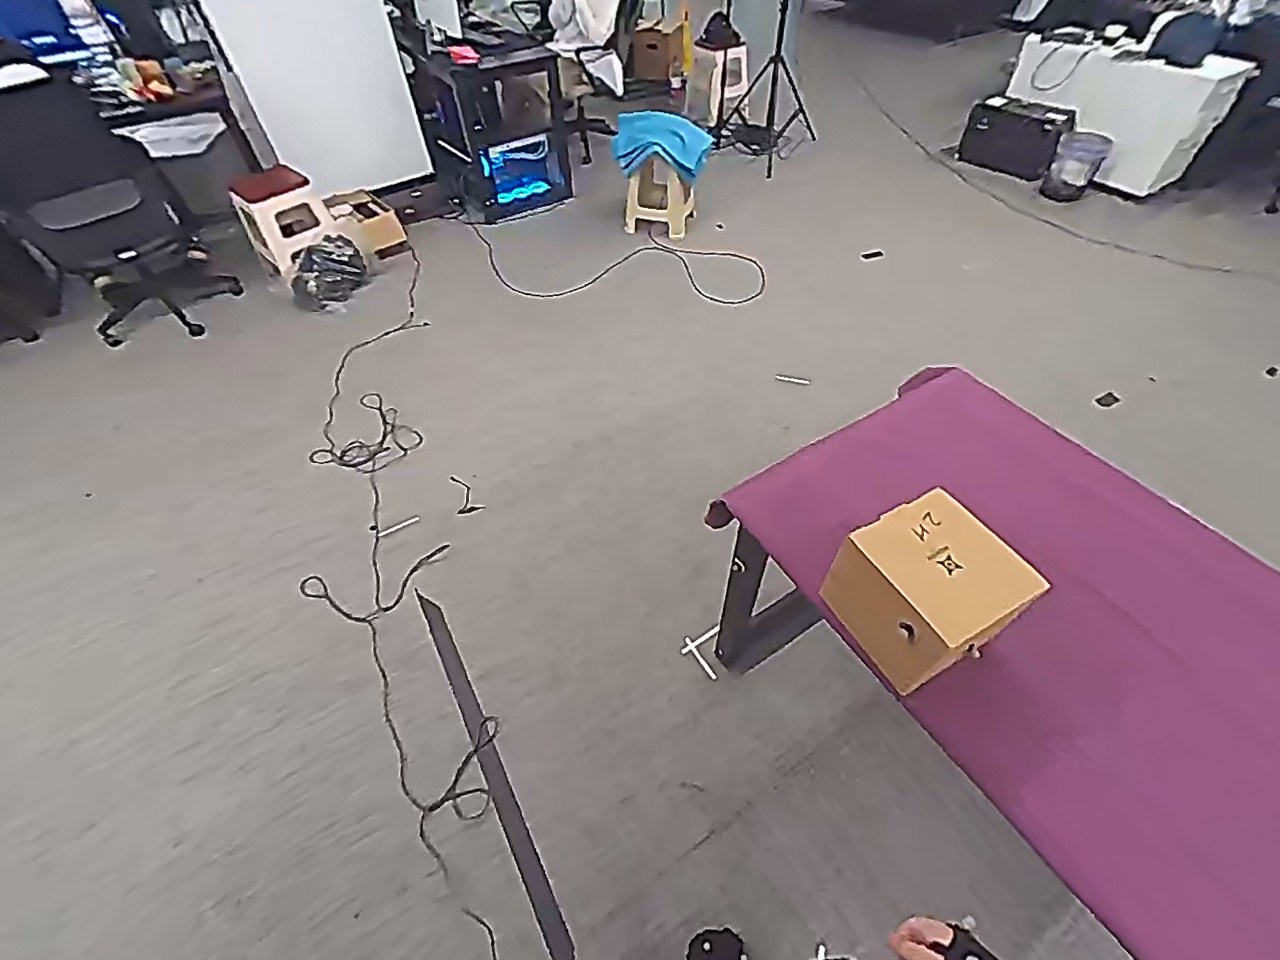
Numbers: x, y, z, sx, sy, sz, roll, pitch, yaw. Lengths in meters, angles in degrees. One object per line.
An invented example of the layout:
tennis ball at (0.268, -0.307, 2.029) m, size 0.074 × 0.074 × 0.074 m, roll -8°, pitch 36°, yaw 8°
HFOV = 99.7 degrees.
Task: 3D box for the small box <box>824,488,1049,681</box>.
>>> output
small box at (0.381, 0.148, 0.731) m, size 0.168 × 0.176 × 0.179 m, roll -23°, pitch 53°, yaw -16°
